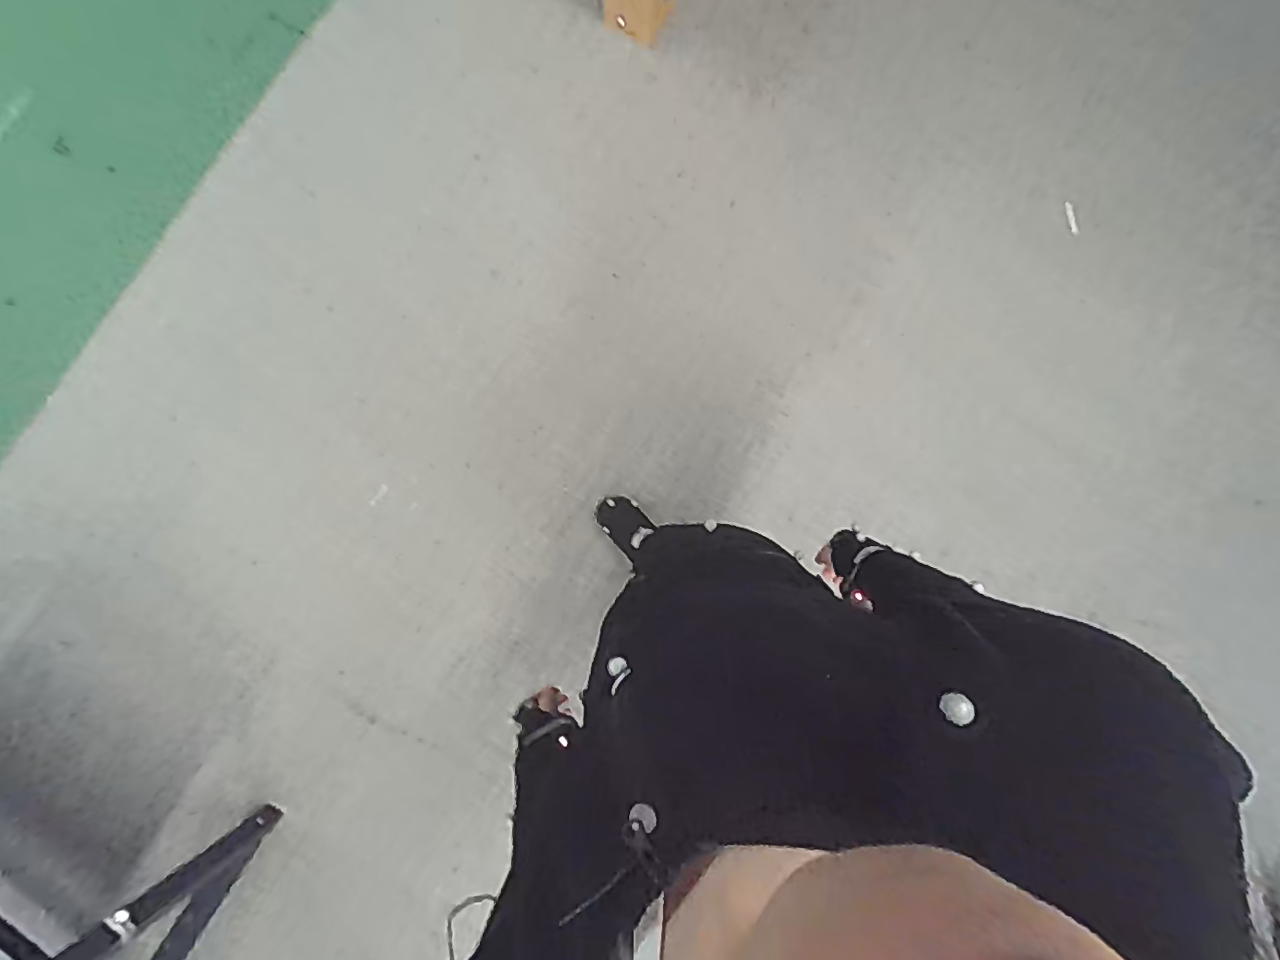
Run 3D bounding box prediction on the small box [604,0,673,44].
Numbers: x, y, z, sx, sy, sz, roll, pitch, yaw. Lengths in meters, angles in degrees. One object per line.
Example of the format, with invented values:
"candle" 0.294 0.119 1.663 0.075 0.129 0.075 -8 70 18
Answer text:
"small box" -0.002 -1.457 1.592 0.168 0.176 0.179 31 86 3
